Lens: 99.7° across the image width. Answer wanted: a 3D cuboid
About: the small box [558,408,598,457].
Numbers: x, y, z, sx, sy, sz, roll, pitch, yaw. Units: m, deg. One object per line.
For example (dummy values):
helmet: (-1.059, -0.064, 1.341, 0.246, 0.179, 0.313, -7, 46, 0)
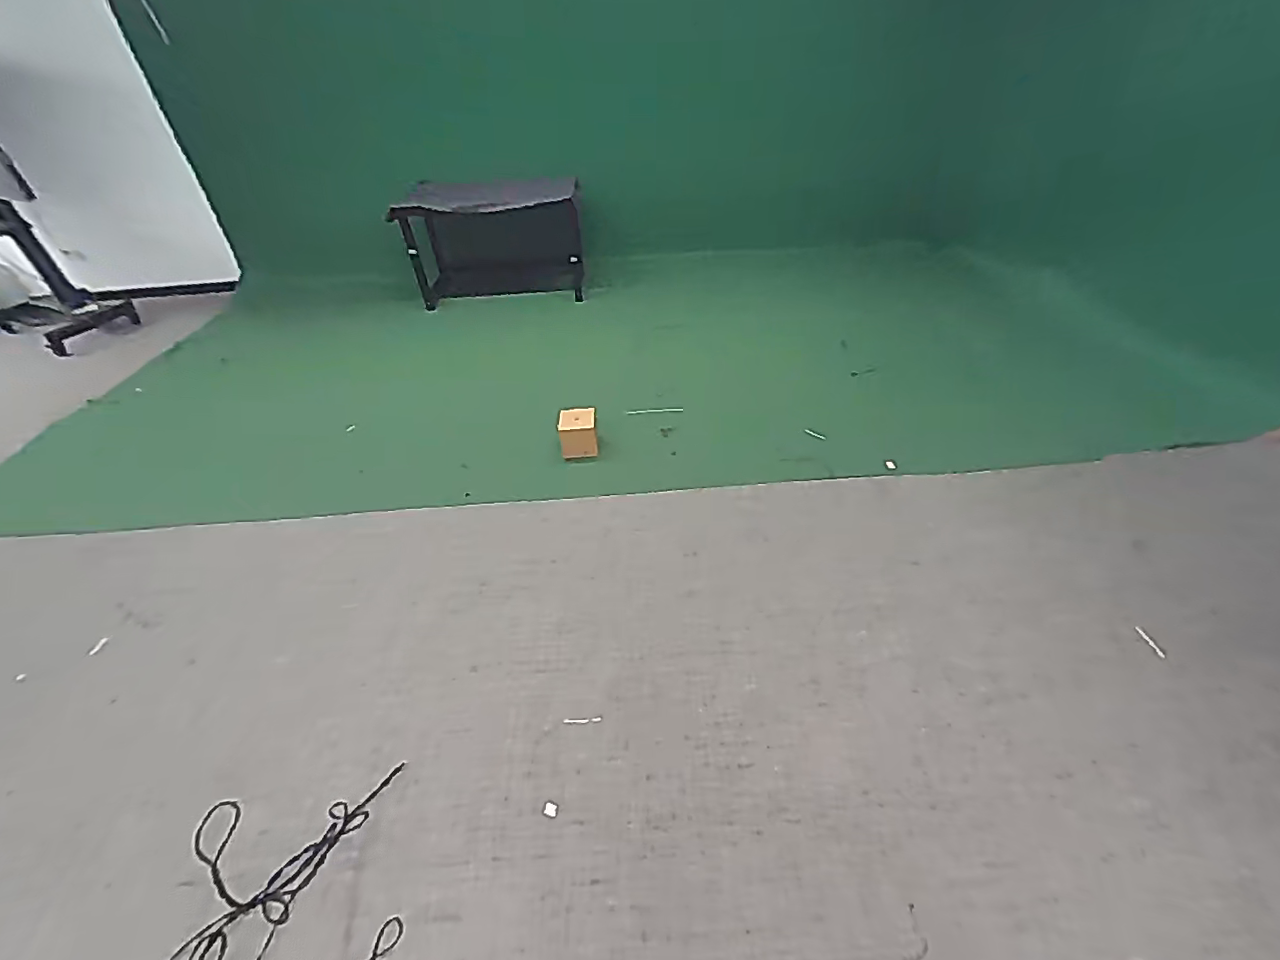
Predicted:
small box: (-0.290, -0.222, 2.571, 0.168, 0.176, 0.179, -5, 39, 0)
